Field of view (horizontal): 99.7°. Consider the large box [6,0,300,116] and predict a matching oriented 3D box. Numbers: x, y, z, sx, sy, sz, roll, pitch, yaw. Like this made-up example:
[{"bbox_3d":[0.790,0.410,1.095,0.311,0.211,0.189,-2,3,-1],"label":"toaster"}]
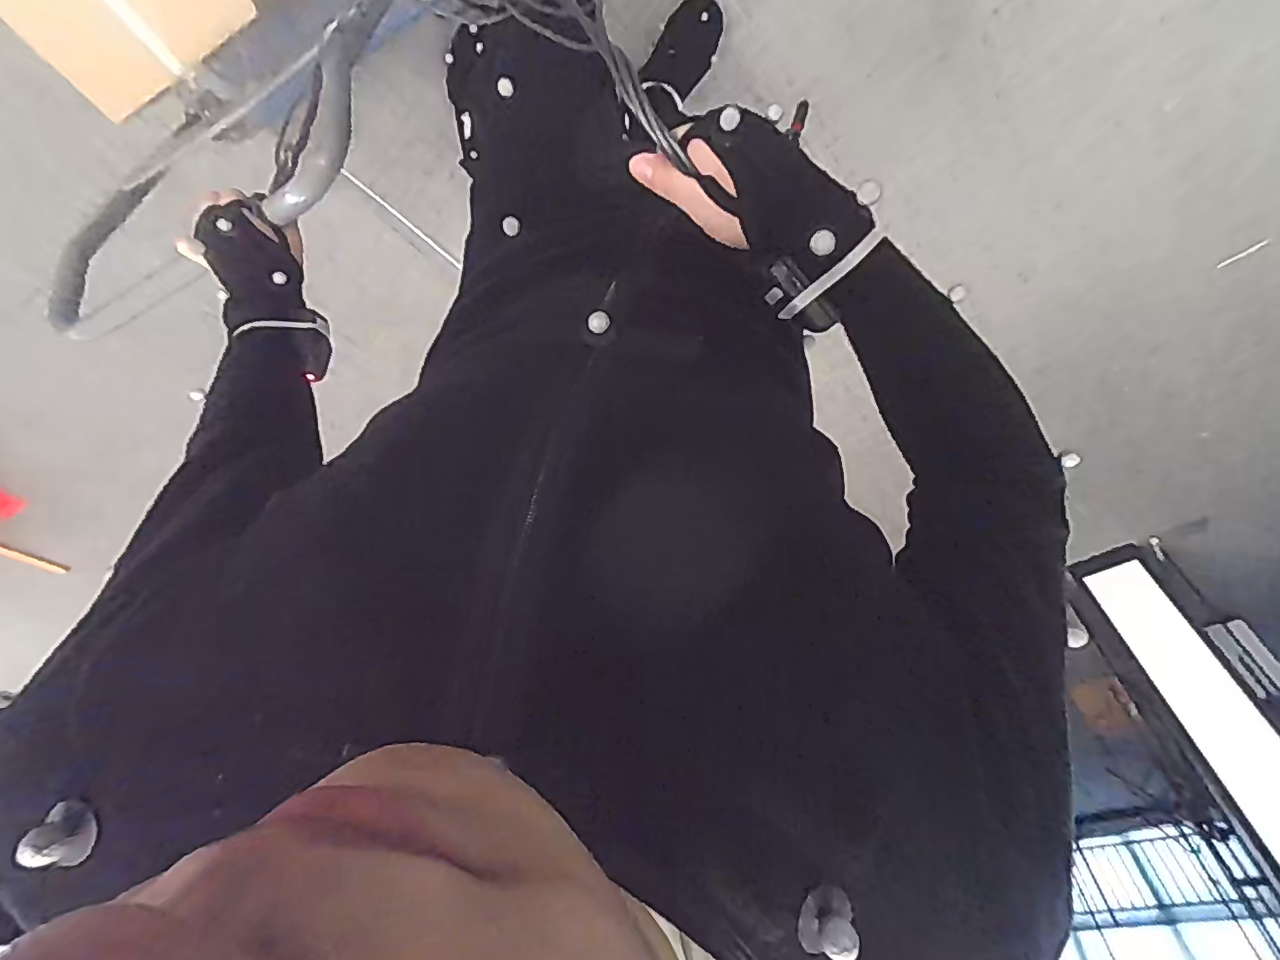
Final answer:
[{"bbox_3d":[-0.726,-0.819,0.731,0.320,0.320,0.408,-19,138,17],"label":"large box"}]
